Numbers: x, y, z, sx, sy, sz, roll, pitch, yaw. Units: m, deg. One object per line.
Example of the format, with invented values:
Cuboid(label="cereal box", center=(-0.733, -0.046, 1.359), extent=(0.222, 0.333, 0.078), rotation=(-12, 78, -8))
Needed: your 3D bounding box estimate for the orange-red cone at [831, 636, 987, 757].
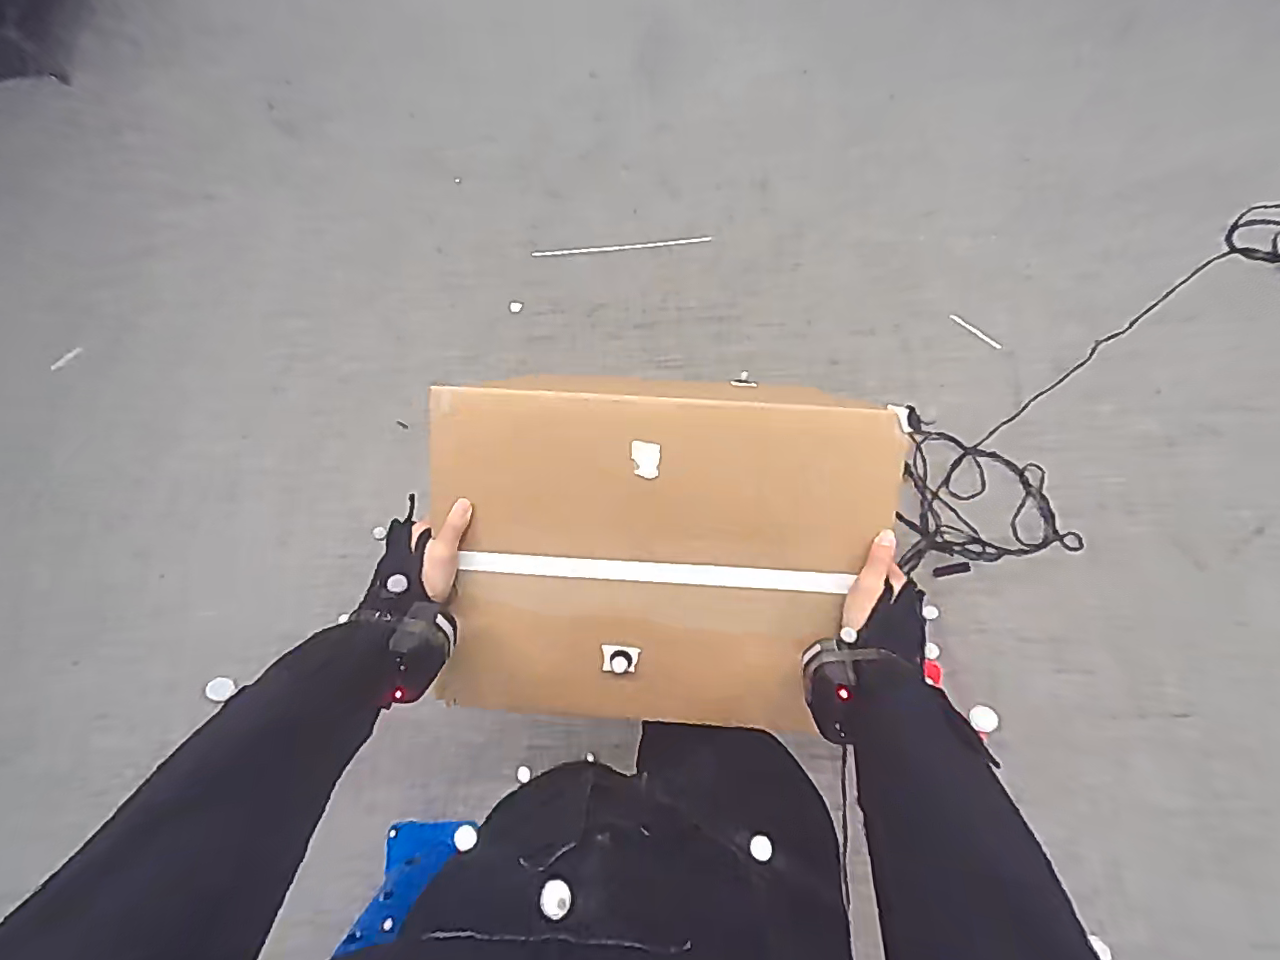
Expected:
Cuboid(label="orange-red cone", center=(0.498, 0.405, 0.949), extent=(0.199, 0.360, 0.198), rotation=(17, 79, 8))

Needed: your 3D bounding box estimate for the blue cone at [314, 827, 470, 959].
Cuboid(label="blue cone", center=(-0.459, 0.782, 0.955), extent=(0.192, 0.380, 0.193), rotation=(-2, 75, 5))
